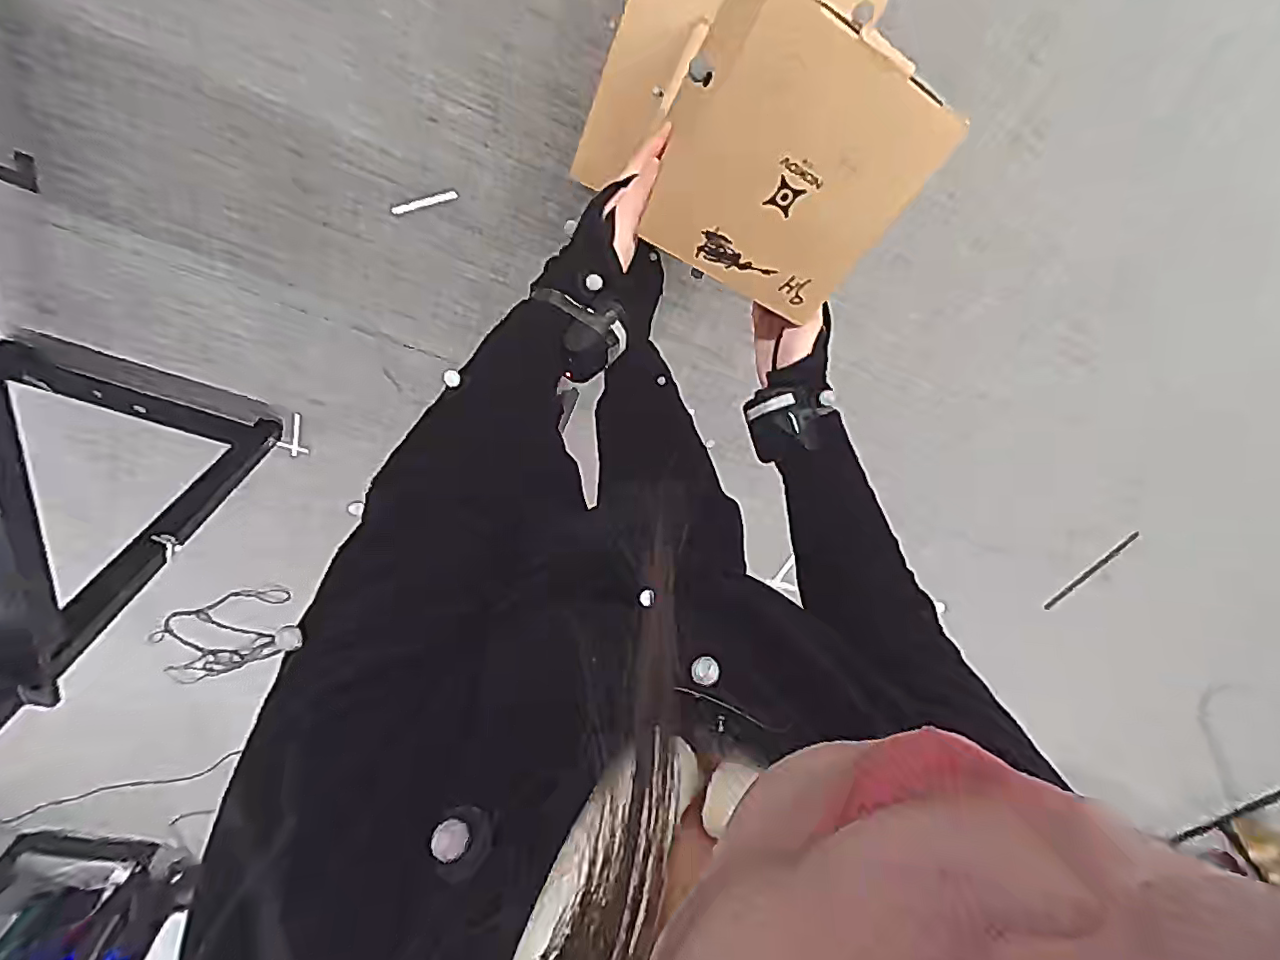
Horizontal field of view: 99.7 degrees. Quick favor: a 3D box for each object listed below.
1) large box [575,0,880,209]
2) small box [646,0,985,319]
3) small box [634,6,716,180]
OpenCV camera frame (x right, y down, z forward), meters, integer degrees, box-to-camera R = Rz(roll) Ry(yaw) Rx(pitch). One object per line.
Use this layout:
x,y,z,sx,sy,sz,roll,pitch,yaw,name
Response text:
0.110,-0.648,0.867,0.320,0.320,0.408,18,122,-17,large box
0.114,-0.272,0.429,0.168,0.176,0.179,21,134,-20,small box
0.098,-0.457,0.701,0.168,0.176,0.179,23,122,-17,small box
